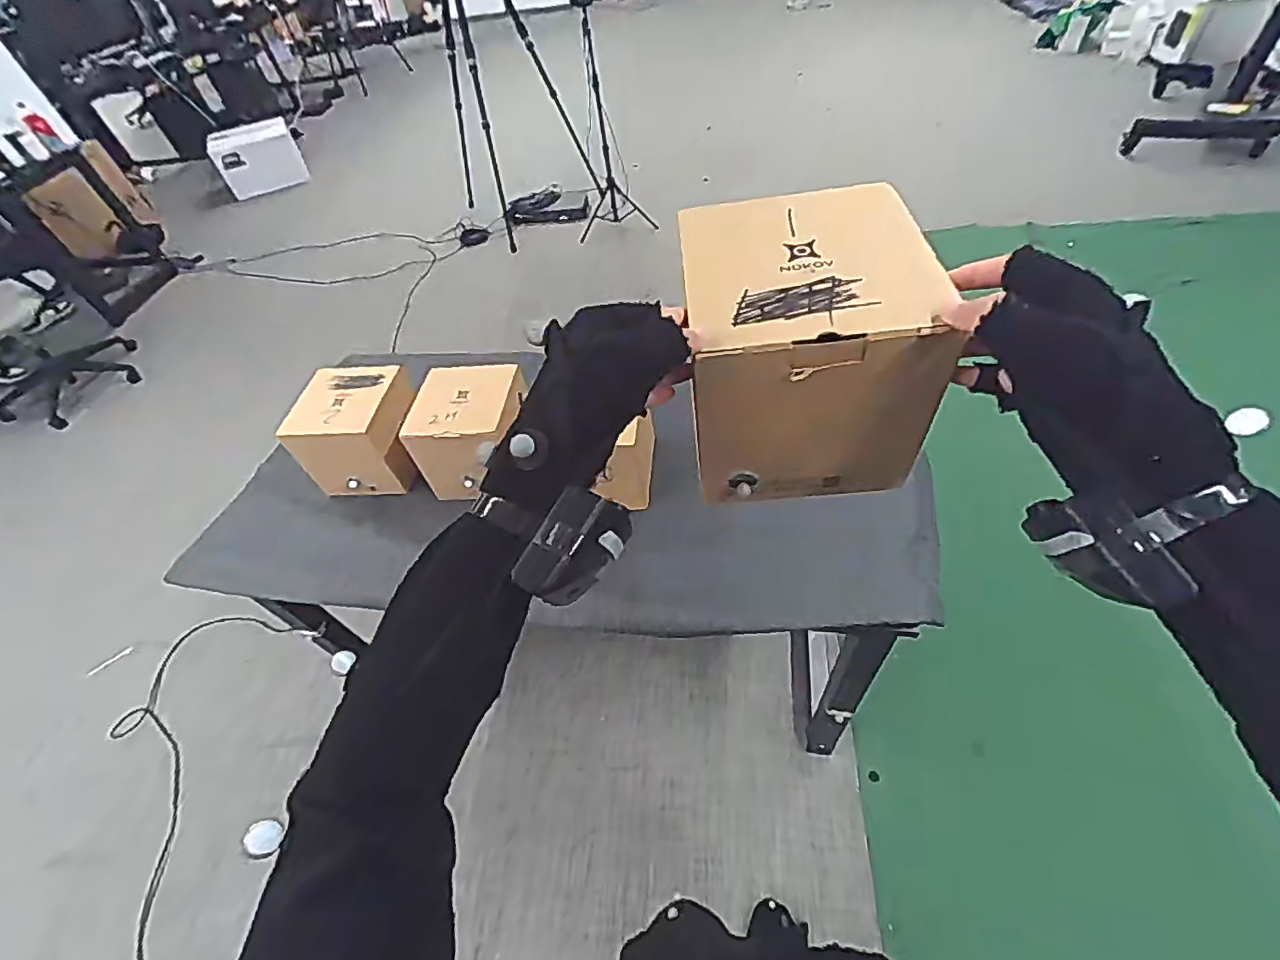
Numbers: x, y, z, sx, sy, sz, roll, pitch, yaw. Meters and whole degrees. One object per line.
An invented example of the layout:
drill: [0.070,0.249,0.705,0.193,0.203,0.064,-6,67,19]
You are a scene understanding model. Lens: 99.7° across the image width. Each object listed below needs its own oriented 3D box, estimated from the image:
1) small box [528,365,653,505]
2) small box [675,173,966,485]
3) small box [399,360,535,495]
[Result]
small box: [-0.071,-0.070,0.914,0.168,0.176,0.179,-1,50,8]
small box: [0.119,-0.108,0.430,0.168,0.176,0.179,-5,53,6]
small box: [-0.290,-0.092,0.962,0.168,0.176,0.179,-1,51,8]
